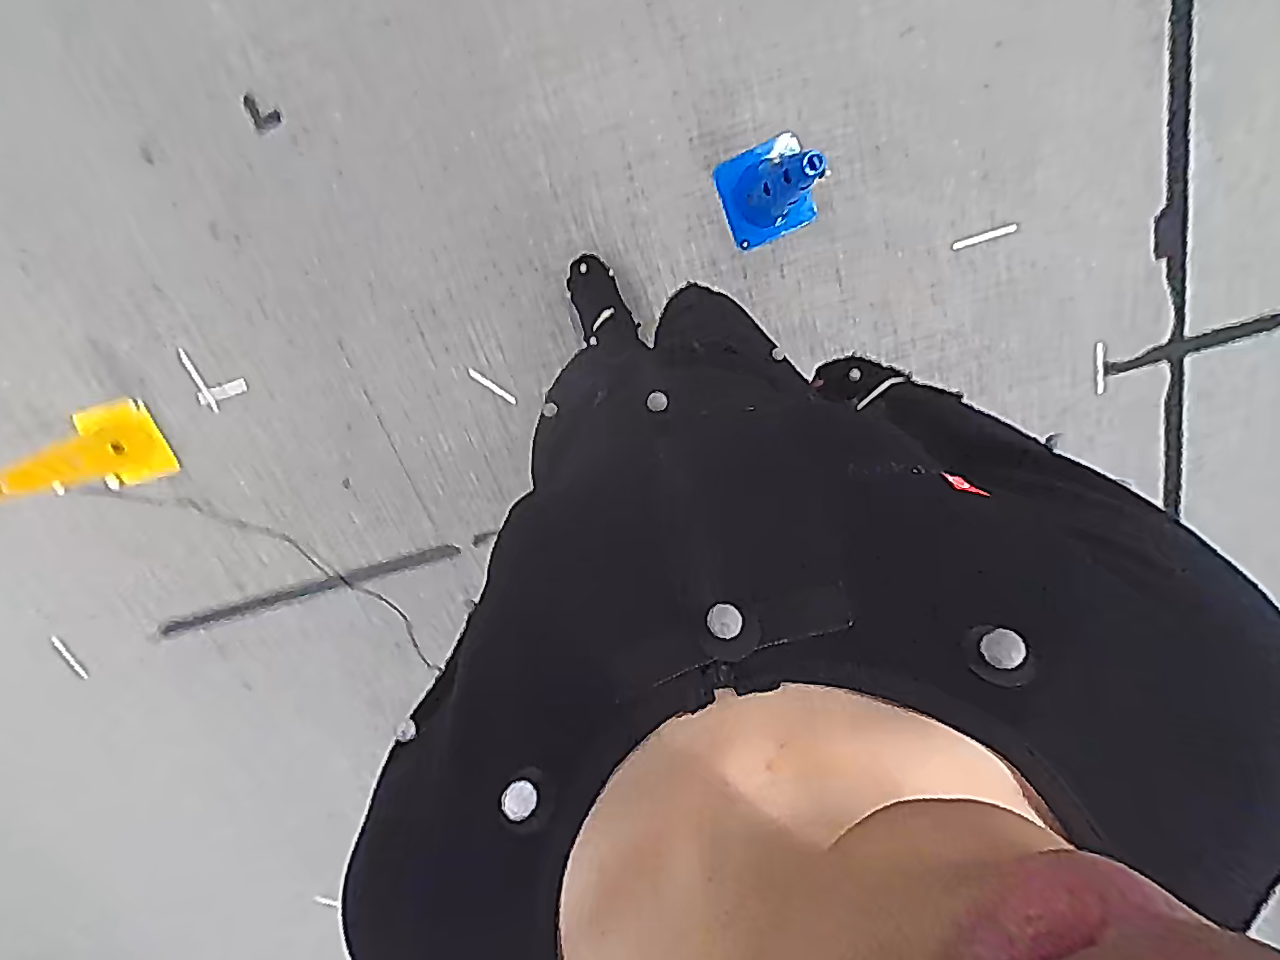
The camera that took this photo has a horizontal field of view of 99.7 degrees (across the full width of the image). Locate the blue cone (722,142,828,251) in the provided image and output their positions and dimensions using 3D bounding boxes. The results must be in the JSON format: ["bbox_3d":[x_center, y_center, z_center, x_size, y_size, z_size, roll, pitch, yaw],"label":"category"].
[{"bbox_3d":[0.299,-0.600,1.098,0.193,0.380,0.192,-22,110,7],"label":"blue cone"}]
